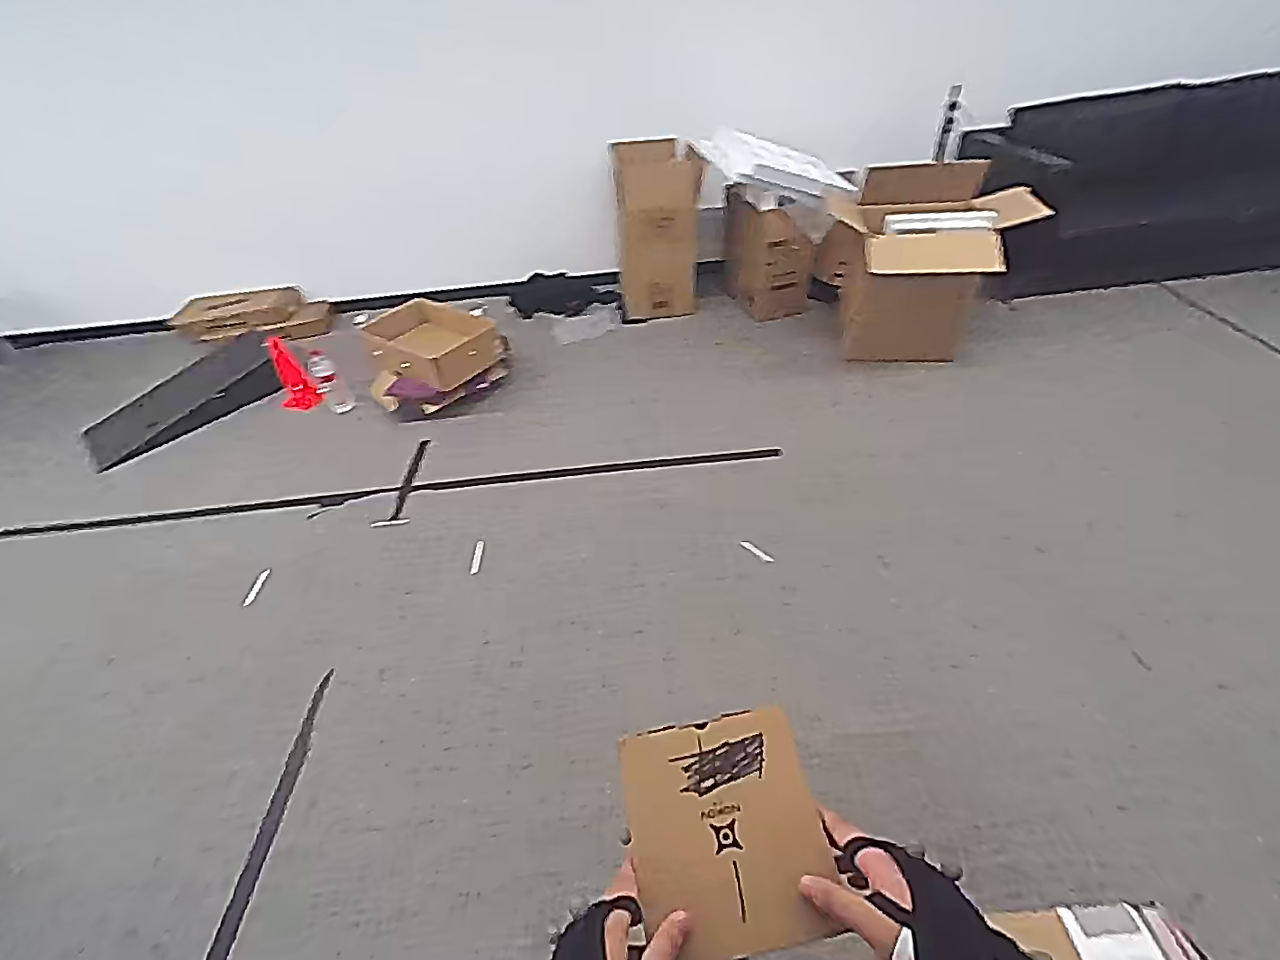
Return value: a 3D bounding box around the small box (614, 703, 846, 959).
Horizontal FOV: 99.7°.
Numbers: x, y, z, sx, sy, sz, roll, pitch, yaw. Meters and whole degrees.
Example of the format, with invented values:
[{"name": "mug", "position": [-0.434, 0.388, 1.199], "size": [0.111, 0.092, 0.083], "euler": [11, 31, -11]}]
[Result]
[{"name": "small box", "position": [0.074, 0.348, 0.534], "size": [0.168, 0.176, 0.179], "euler": [-12, 51, -3]}]
